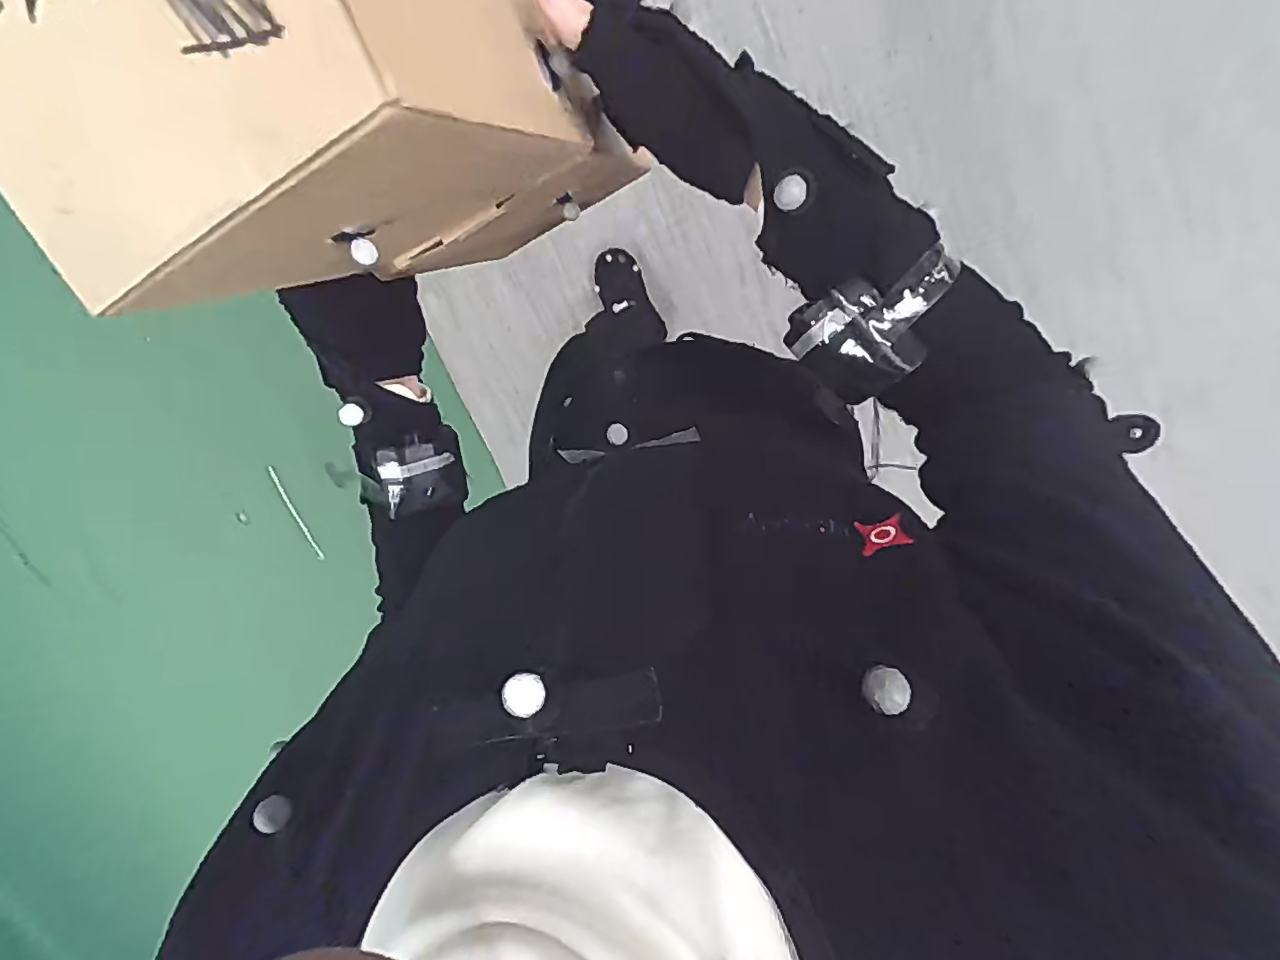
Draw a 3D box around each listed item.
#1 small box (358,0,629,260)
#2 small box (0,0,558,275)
[{"bbox_3d":[-0.127,-0.277,0.375,0.168,0.176,0.179,-18,109,24],"label":"small box"},{"bbox_3d":[-0.157,-0.213,0.246,0.179,0.176,0.168,-13,111,23],"label":"small box"}]
